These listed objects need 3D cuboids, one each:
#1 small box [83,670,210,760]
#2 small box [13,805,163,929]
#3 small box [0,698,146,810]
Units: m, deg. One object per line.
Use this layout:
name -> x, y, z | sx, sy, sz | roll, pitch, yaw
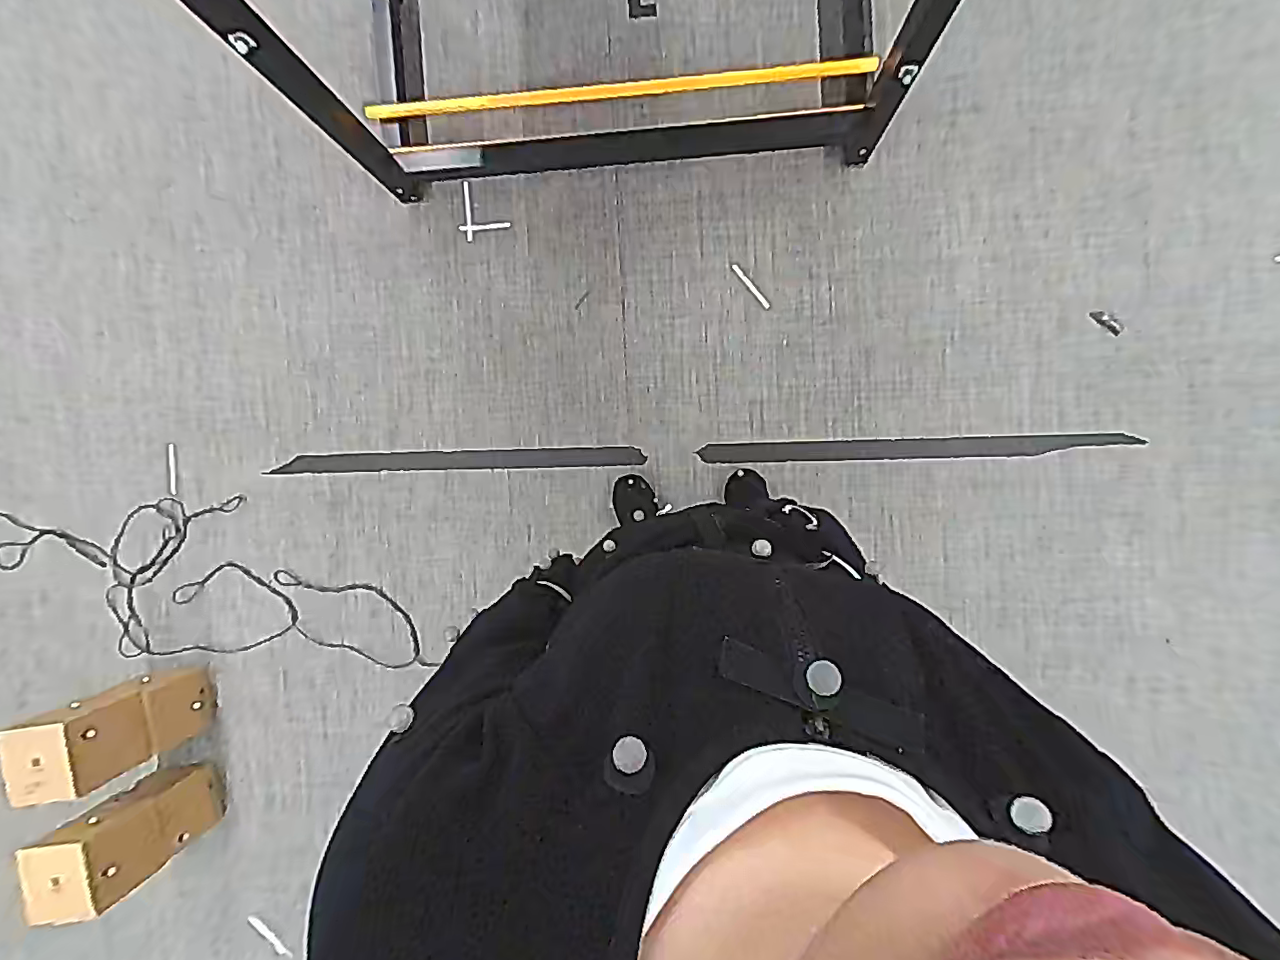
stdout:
small box -> -1.284, 0.613, 1.414 | 0.179, 0.176, 0.168 | -7, 92, 4
small box -> -1.276, 0.888, 1.261 | 0.168, 0.176, 0.179 | -10, 92, 5
small box -> -1.307, 0.621, 1.250 | 0.168, 0.176, 0.179 | -8, 92, 5
